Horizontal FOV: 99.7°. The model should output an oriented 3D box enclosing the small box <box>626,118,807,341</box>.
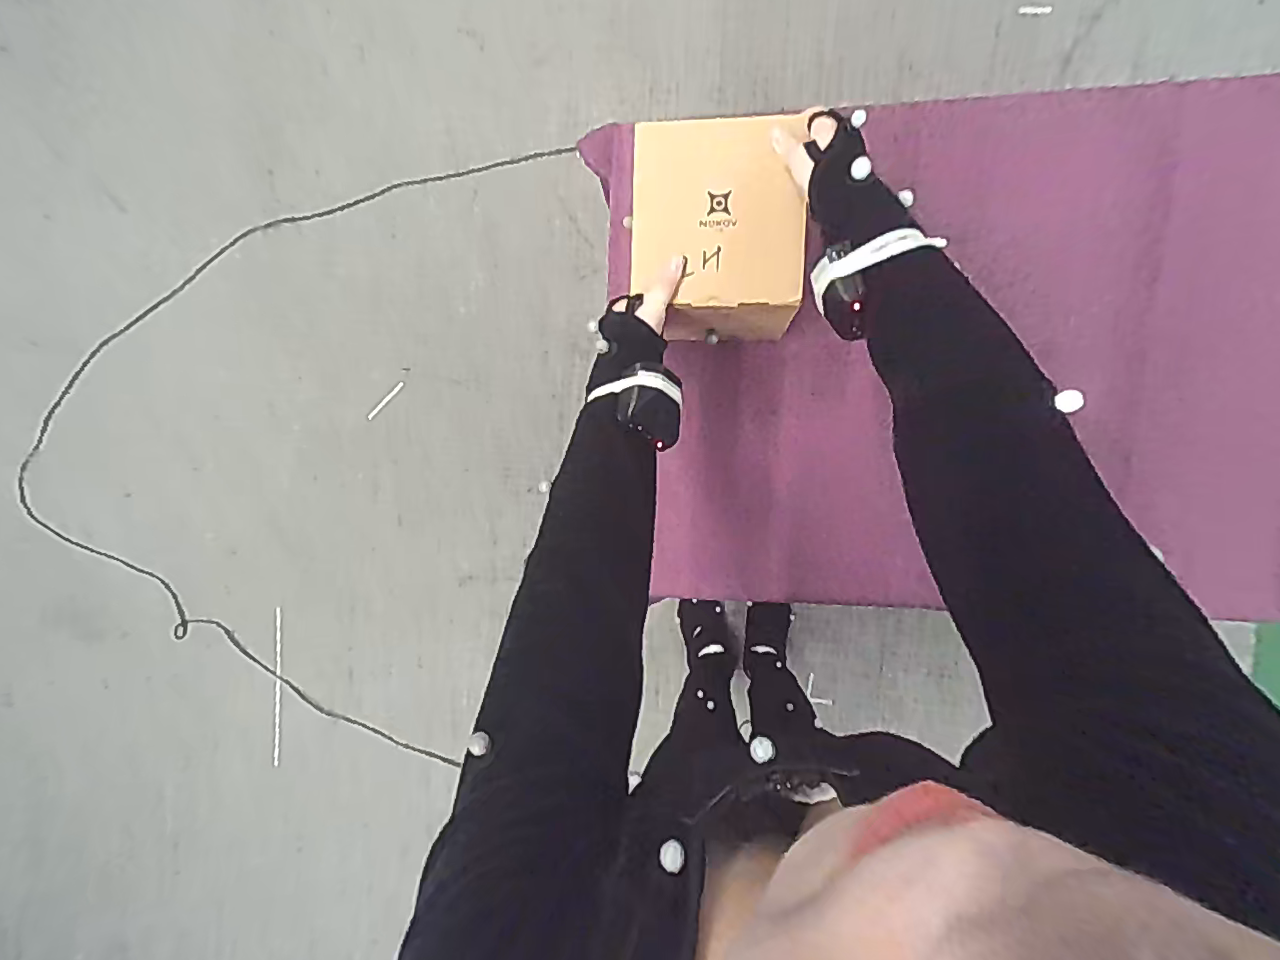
[{"bbox_3d":[0.080,-0.259,0.595,0.168,0.176,0.179,3,94,8],"label":"small box"}]
